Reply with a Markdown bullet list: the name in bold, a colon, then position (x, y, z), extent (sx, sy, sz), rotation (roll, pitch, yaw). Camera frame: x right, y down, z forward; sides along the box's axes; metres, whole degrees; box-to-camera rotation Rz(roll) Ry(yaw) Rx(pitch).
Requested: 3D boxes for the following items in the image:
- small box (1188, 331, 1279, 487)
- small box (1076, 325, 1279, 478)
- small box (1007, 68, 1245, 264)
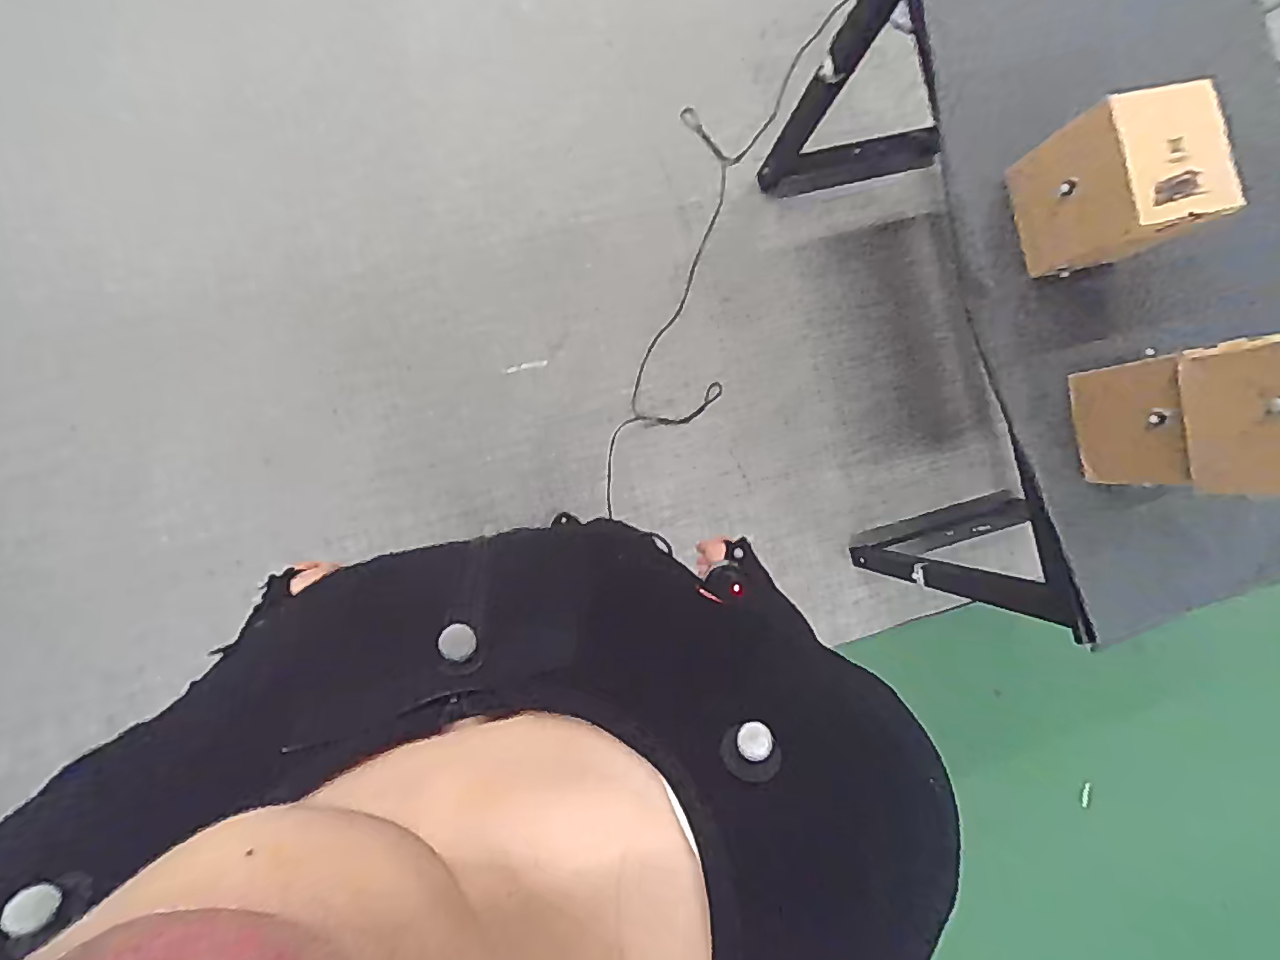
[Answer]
- **small box**: position (0.782, -0.090, 0.611), extent (0.168, 0.176, 0.179), rotation (-9, 90, -7)
- **small box**: position (0.775, -0.103, 0.775), extent (0.168, 0.176, 0.179), rotation (-12, 92, -7)
- **small box**: position (0.670, -0.426, 0.765), extent (0.168, 0.176, 0.179), rotation (-14, 89, -8)
